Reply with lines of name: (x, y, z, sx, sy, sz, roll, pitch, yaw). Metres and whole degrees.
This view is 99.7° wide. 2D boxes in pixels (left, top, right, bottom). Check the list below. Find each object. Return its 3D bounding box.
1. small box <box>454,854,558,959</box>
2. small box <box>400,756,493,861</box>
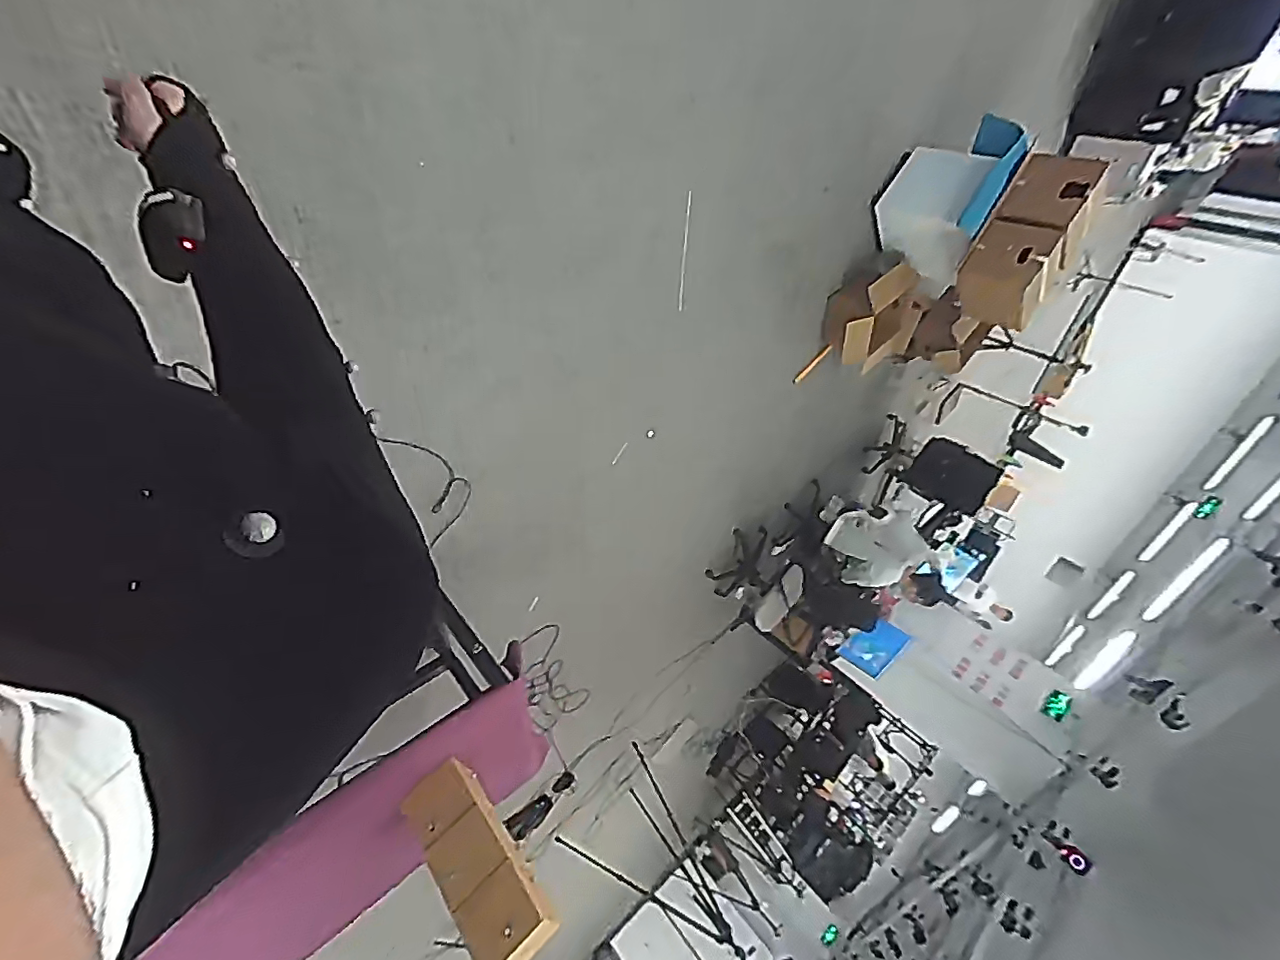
small box: (-0.342, 1.094, 1.361, 0.179, 0.176, 0.168, -39, 143, -22)
small box: (-0.560, 0.939, 1.549, 0.179, 0.176, 0.168, -38, 144, -23)
